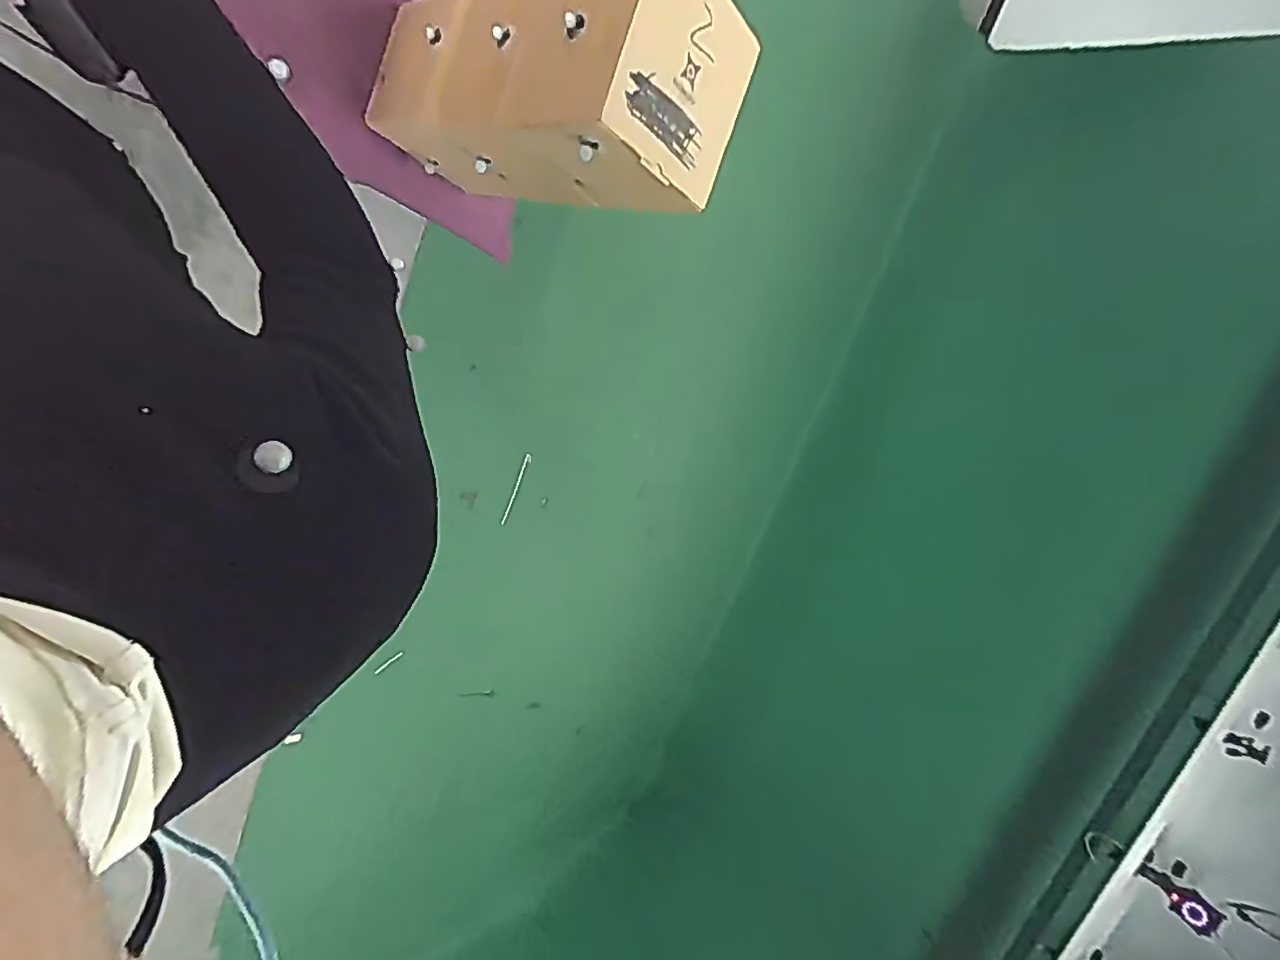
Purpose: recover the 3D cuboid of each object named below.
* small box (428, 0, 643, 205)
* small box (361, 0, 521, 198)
[{"bbox_3d":[-0.132,-0.471,0.665,0.168,0.176,0.179,14,101,-52],"label":"small box"},{"bbox_3d":[-0.251,-0.530,0.760,0.179,0.176,0.168,13,101,-53],"label":"small box"}]
